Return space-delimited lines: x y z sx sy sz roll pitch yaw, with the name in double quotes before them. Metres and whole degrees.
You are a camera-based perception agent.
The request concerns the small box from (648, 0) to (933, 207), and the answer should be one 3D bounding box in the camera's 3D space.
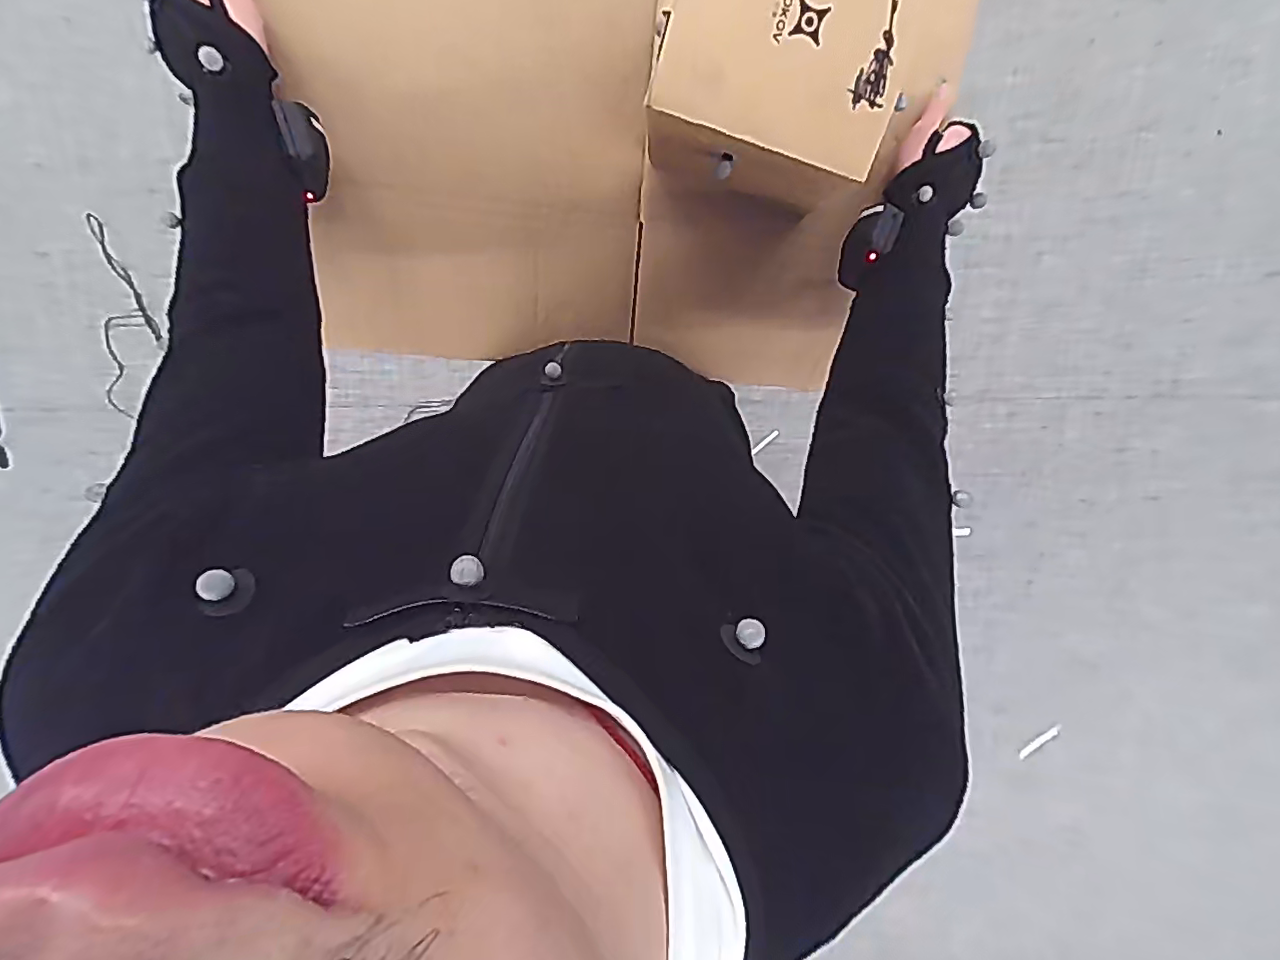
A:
"small box" 0.116 -0.352 0.459 0.179 0.176 0.168 17 109 -3
